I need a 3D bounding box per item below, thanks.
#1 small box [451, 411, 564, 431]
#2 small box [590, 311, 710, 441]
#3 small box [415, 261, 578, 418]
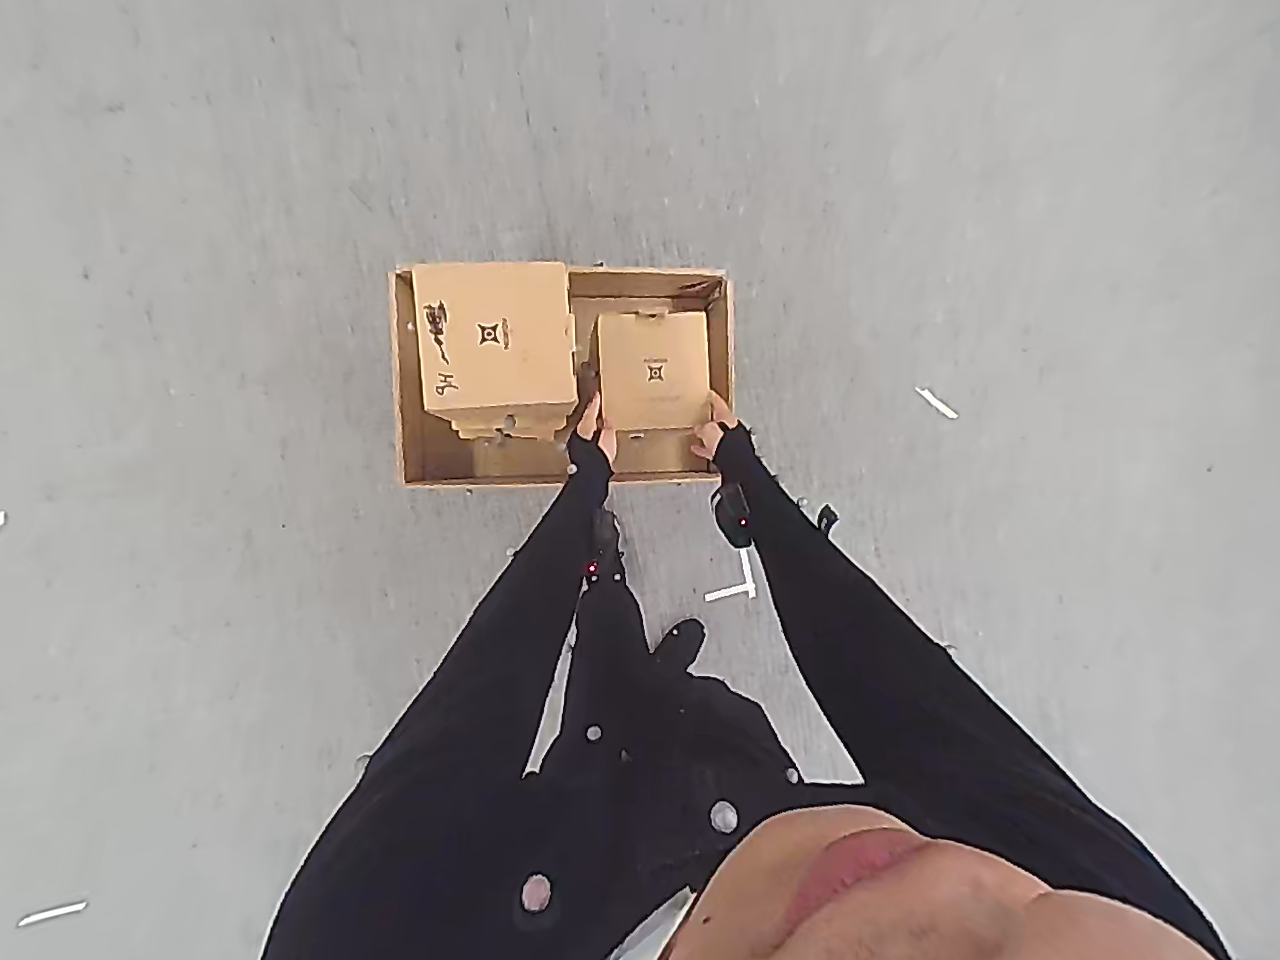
[{"bbox_3d":[-0.206,-0.167,0.862,0.168,0.176,0.179,-3,92,-10],"label":"small box"},{"bbox_3d":[0.009,-0.161,0.877,0.168,0.176,0.179,-3,89,-9],"label":"small box"},{"bbox_3d":[-0.179,-0.170,0.700,0.179,0.176,0.168,-4,92,-10],"label":"small box"}]
